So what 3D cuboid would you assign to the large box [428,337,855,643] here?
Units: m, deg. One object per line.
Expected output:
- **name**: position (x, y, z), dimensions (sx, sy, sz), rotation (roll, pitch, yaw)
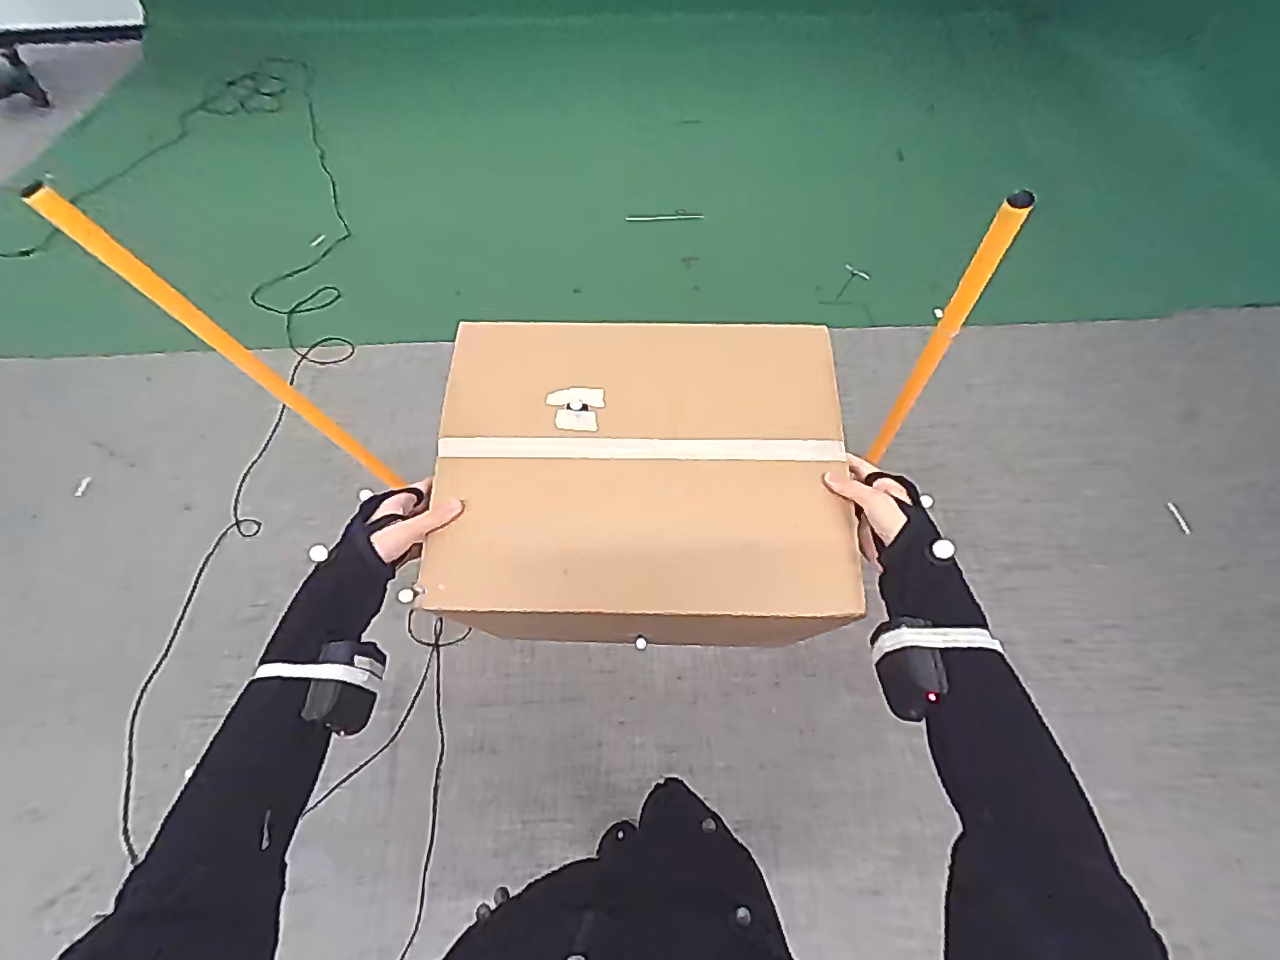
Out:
- **large box**: position (0.006, 0.039, 0.689), dimensions (0.408, 0.320, 0.320), rotation (0, 68, 2)
